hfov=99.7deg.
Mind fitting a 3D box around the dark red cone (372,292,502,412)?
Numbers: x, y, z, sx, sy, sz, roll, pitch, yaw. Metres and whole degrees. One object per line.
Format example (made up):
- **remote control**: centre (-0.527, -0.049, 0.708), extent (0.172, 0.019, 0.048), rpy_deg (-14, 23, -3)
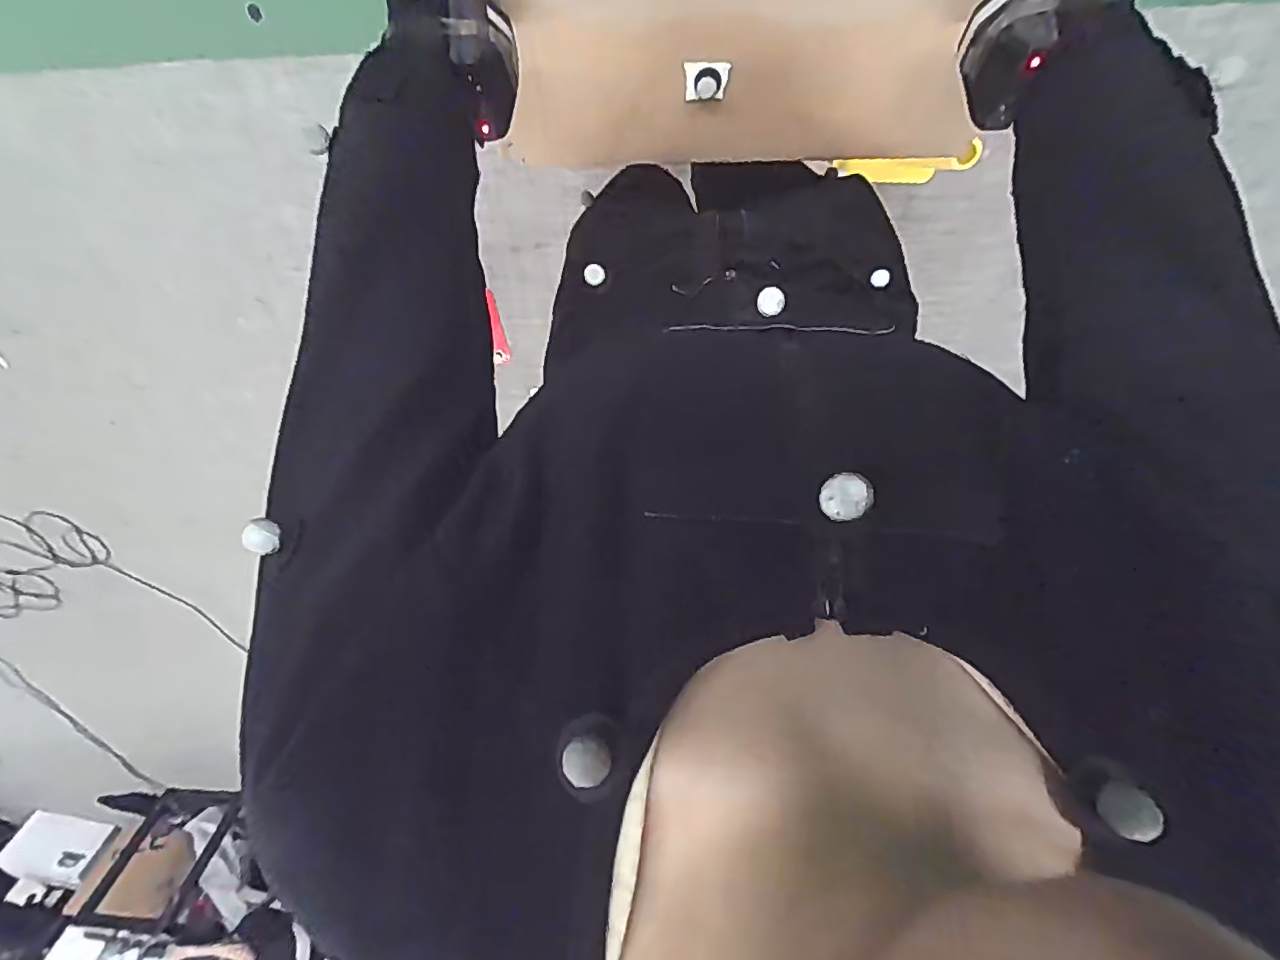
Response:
- **dark red cone**: centre (-0.466, -0.255, 1.181), extent (0.202, 0.394, 0.201), rpy_deg (-4, 125, 10)
